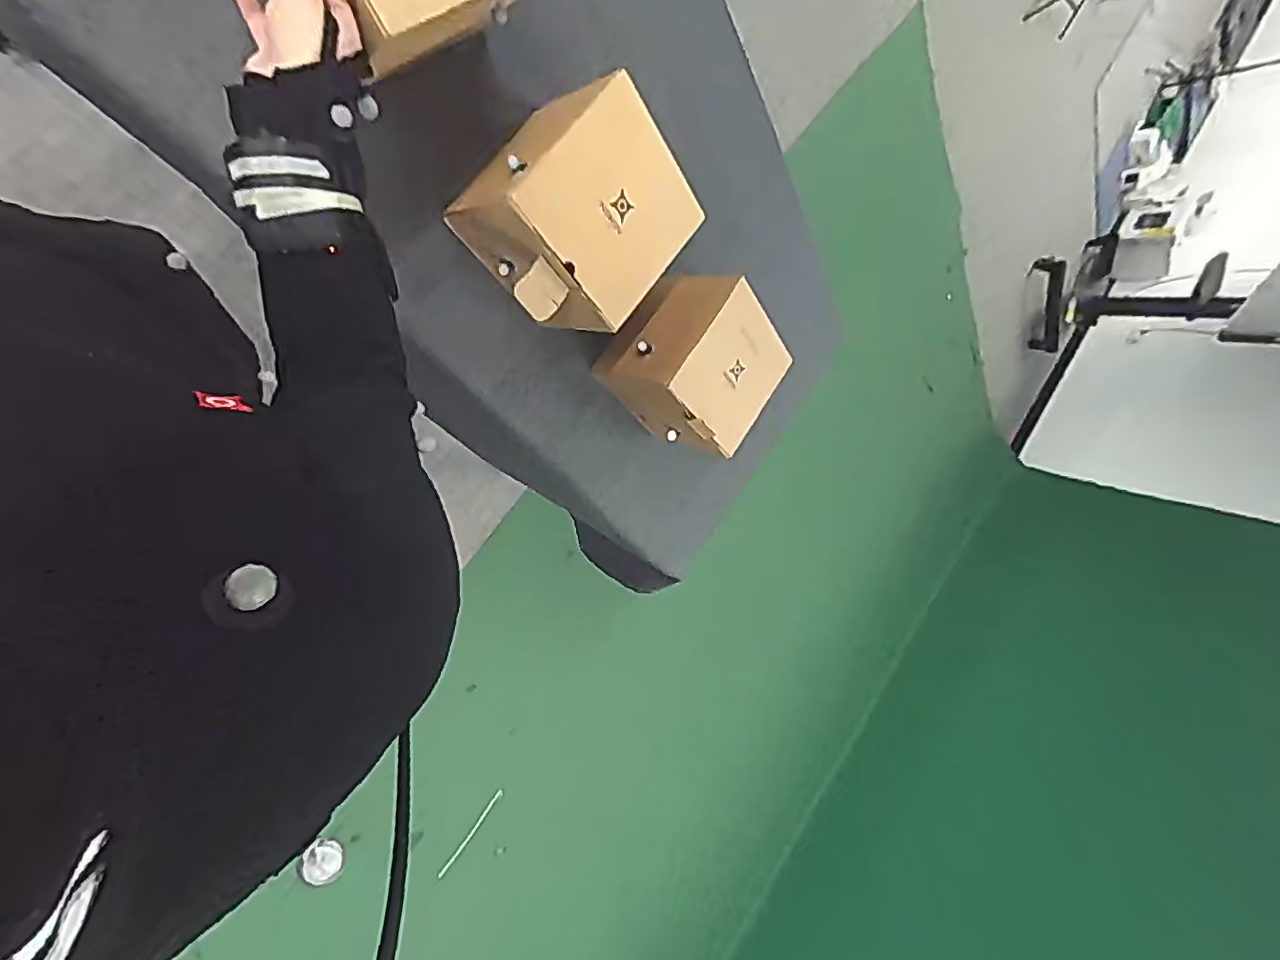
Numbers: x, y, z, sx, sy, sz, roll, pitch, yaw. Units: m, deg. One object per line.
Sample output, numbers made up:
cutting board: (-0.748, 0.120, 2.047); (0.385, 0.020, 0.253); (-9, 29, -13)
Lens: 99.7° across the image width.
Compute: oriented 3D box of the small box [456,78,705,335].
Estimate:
small box: (-0.068, -0.285, 0.593); (0.179, 0.176, 0.168); (-55, 132, -11)

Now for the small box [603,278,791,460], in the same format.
small box: (0.073, -0.157, 0.757); (0.168, 0.176, 0.179); (42, 77, -43)
